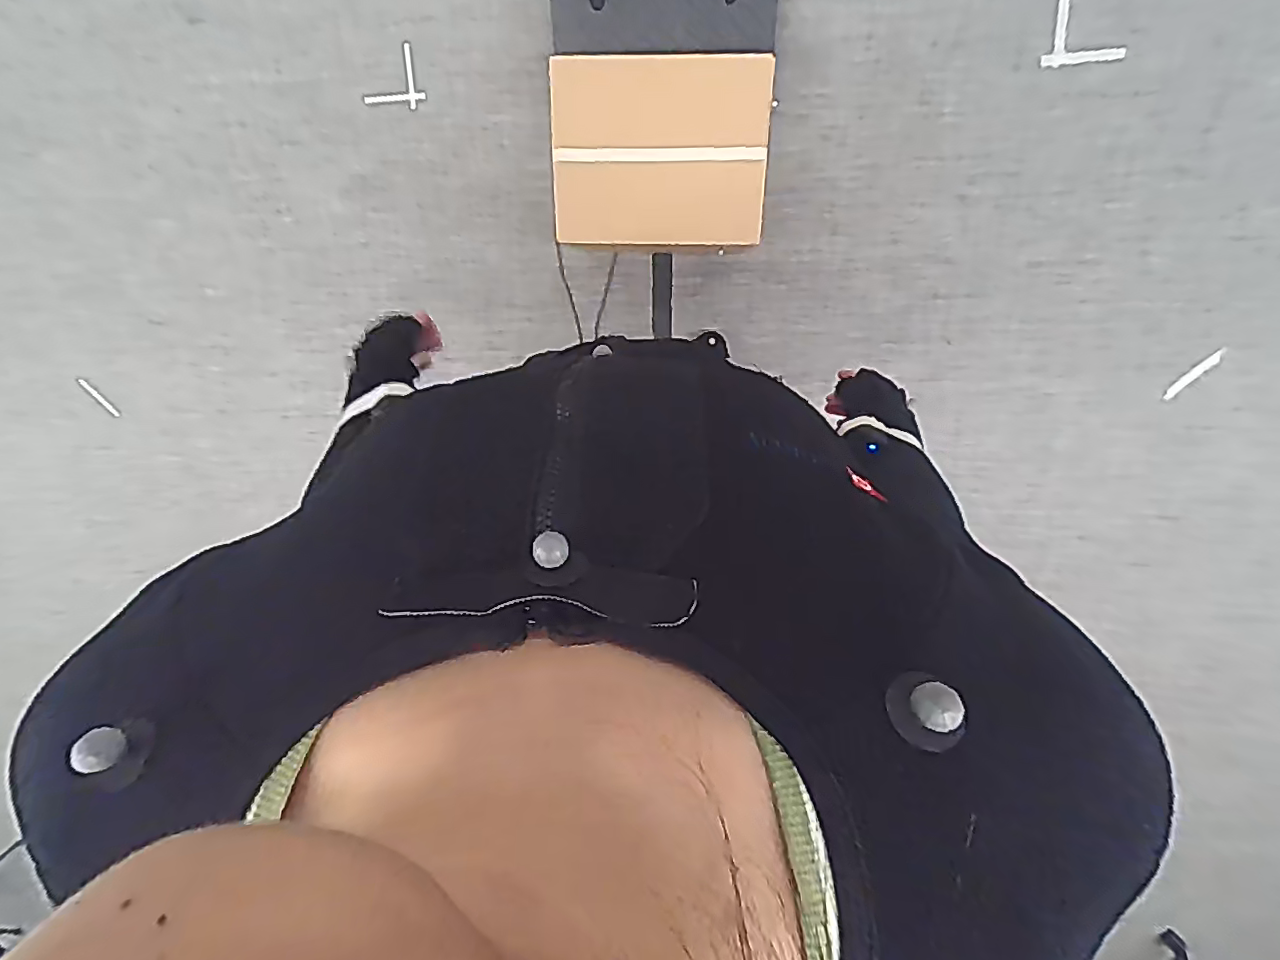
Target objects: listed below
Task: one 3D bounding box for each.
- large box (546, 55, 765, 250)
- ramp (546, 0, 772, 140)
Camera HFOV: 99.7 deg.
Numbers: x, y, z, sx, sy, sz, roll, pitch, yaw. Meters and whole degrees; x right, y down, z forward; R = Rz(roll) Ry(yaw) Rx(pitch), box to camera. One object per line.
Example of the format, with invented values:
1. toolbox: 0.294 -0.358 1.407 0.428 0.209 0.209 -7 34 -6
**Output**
1. large box: 0.036 -0.667 1.162 0.408 0.320 0.320 2 110 3
2. ramp: 0.036 -1.234 1.073 0.509 0.206 0.991 -2 106 2
